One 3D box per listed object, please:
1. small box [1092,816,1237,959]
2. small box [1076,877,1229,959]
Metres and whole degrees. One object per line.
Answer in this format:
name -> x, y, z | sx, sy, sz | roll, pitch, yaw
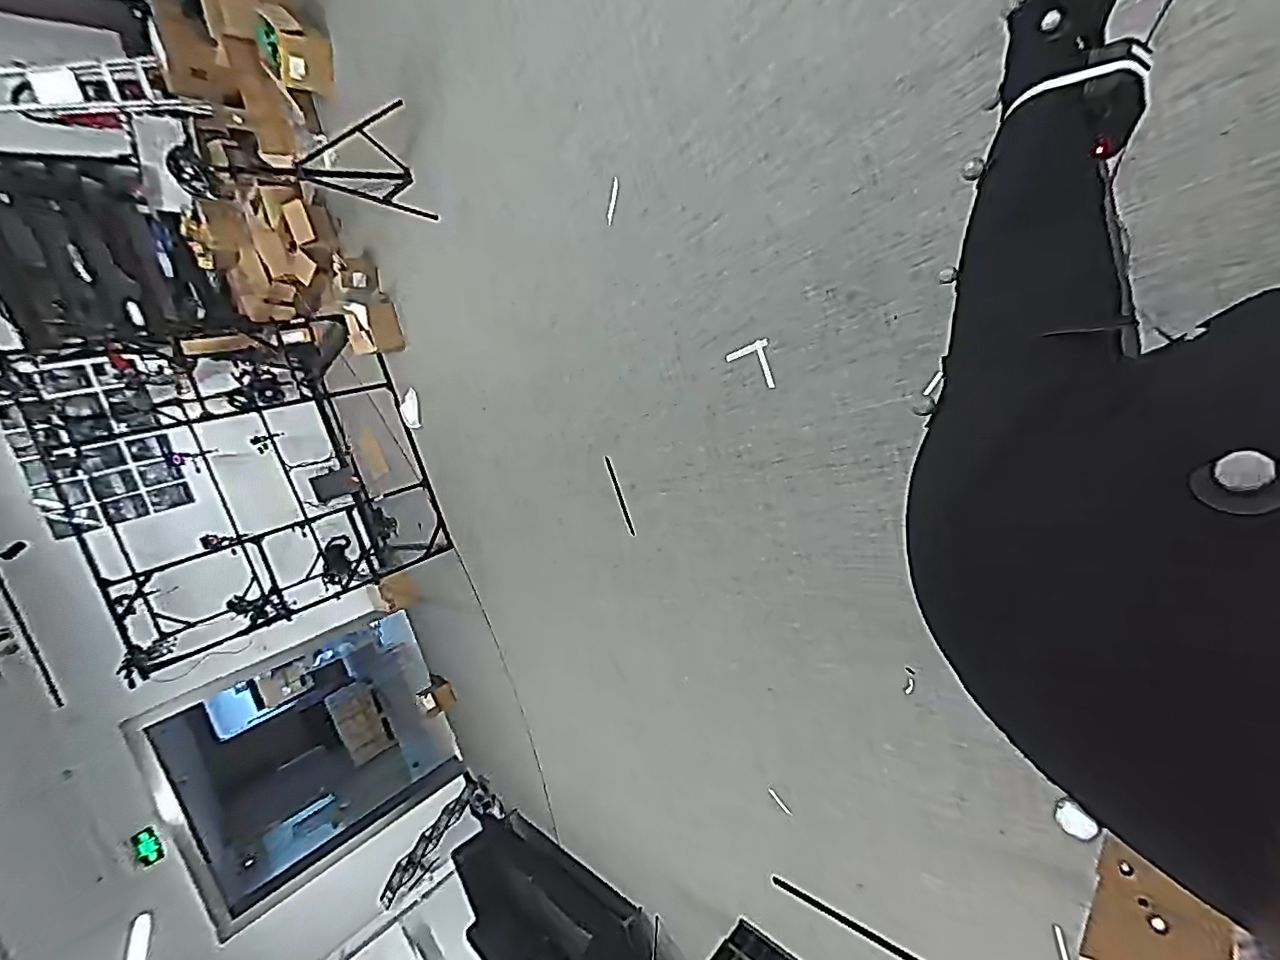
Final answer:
small box -> 0.959, 0.764, 0.987 | 0.179, 0.176, 0.168 | 0, 108, 51
small box -> 0.841, 0.820, 0.887 | 0.168, 0.176, 0.179 | 2, 110, 50
